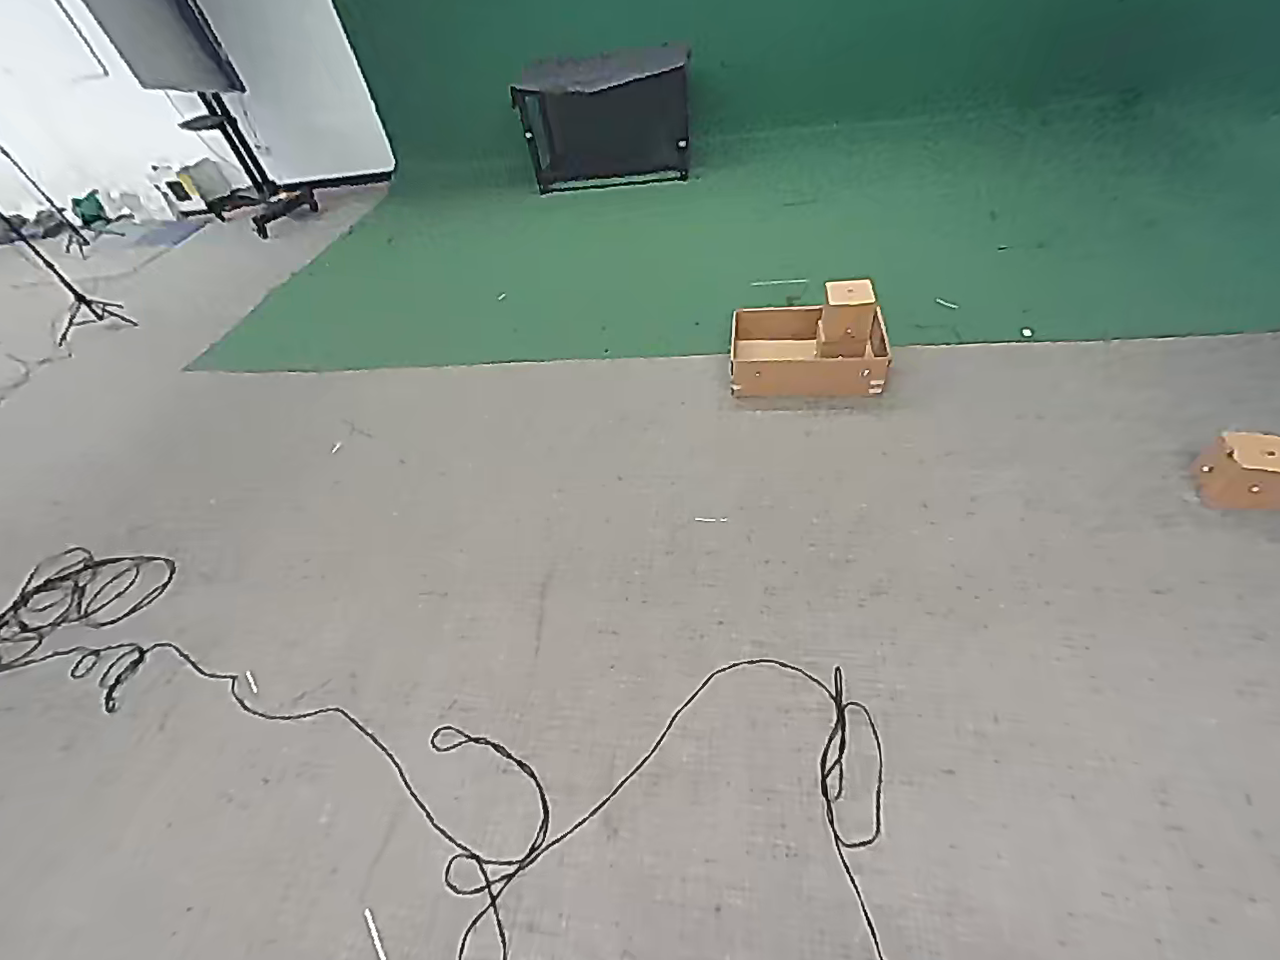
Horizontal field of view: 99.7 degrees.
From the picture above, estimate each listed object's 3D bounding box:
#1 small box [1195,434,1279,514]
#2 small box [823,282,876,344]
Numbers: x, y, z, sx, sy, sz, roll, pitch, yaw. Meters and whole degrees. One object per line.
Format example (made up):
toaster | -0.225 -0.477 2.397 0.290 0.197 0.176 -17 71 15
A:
small box | 1.840 -0.015 1.633 0.179 0.176 0.168 9 49 19
small box | 0.816 -0.654 2.121 0.168 0.176 0.179 0 48 12
